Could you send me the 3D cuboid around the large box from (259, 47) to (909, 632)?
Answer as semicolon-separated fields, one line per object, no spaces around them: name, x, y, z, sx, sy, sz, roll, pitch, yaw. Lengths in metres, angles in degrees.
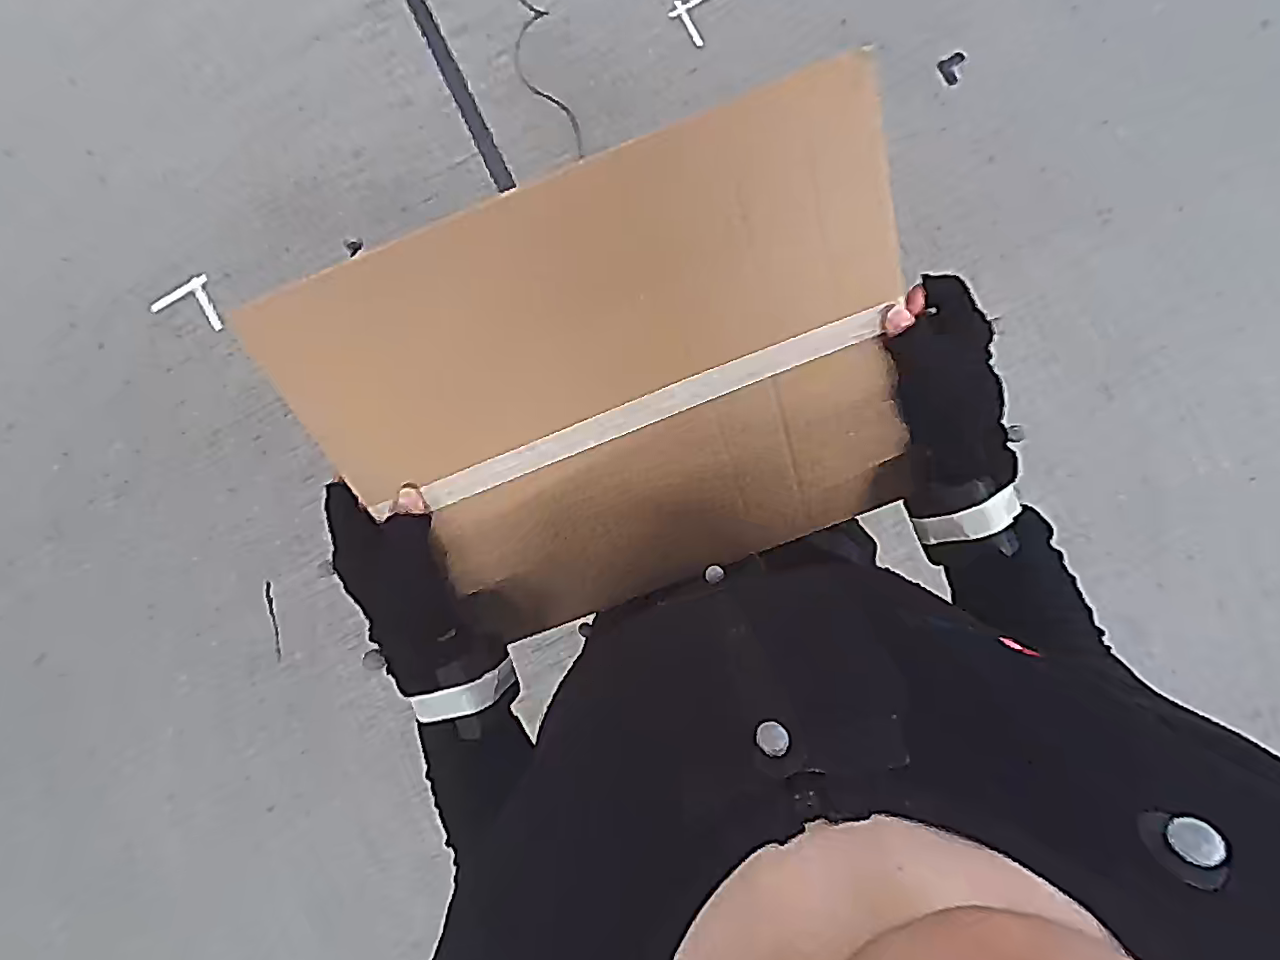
large box;-0.027;-0.126;0.527;0.408;0.320;0.320;-21;120;3
